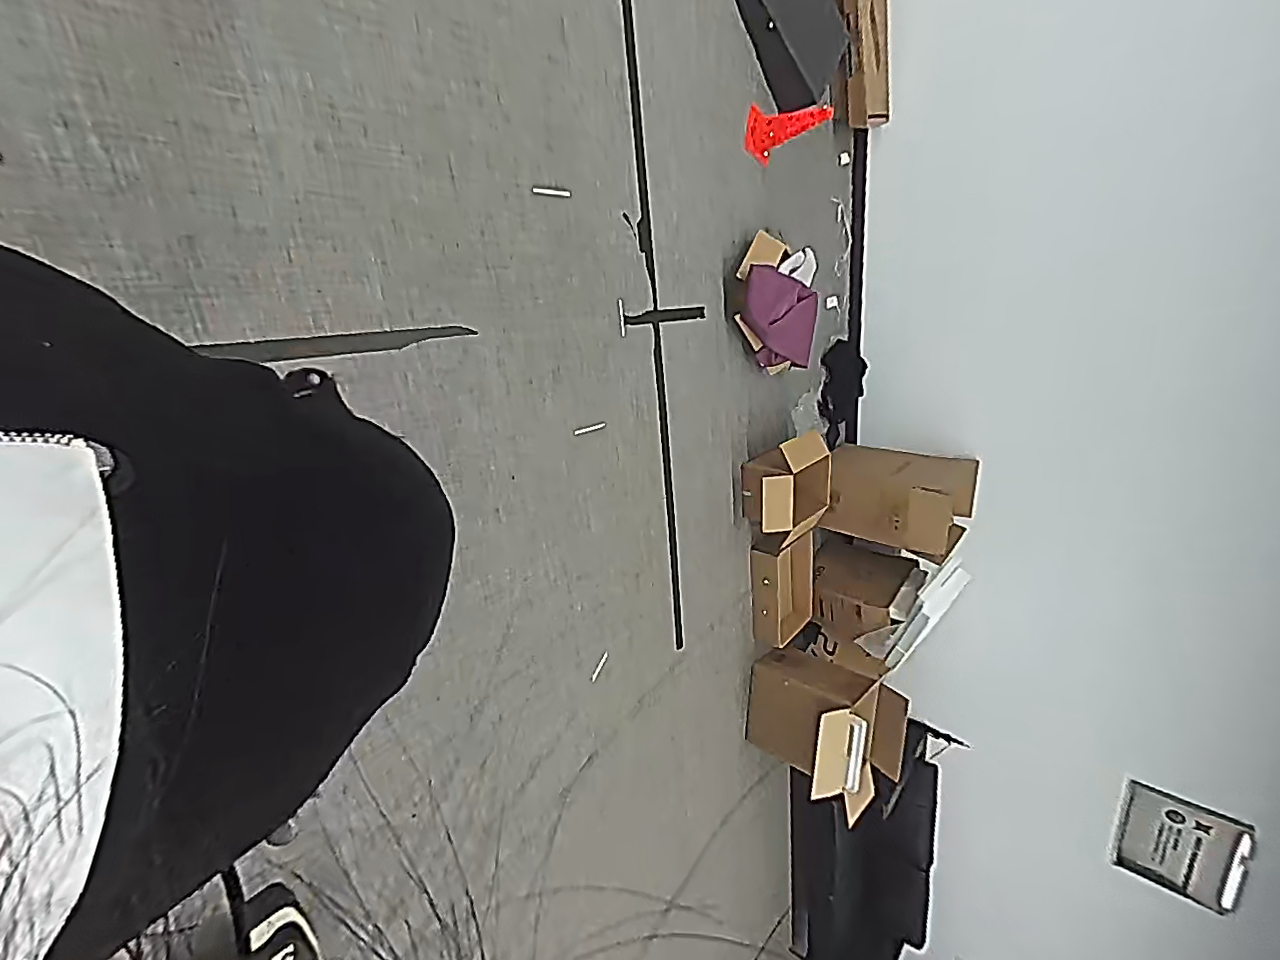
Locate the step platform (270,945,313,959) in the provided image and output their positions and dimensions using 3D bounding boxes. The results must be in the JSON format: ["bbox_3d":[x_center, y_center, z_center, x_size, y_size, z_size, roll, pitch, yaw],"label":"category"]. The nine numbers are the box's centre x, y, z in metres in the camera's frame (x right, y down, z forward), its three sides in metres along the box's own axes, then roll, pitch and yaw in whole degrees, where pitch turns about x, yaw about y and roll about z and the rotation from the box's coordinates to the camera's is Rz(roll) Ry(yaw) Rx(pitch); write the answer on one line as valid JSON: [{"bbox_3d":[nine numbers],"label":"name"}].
[{"bbox_3d":[-0.964,1.338,1.070,0.684,0.204,0.286,-25,117,-42],"label":"step platform"}]
